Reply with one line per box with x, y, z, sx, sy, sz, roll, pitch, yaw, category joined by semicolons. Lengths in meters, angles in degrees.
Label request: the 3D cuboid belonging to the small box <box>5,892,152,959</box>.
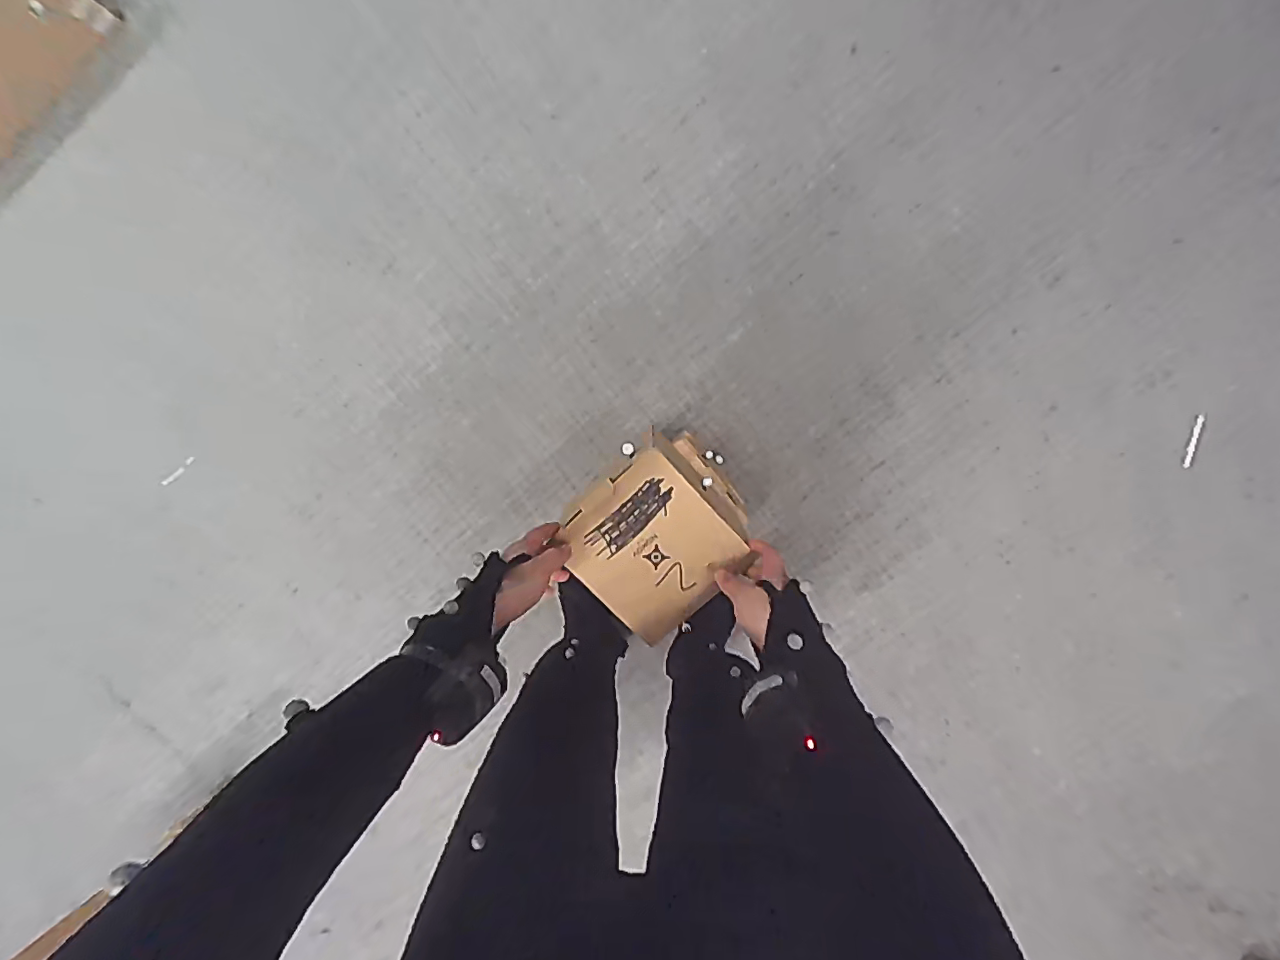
-1.024;0.888;0.943;0.179;0.176;0.168;-44;89;7;small box

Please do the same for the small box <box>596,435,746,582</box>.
0.055;0.038;0.906;0.179;0.176;0.168;-38;88;10;small box

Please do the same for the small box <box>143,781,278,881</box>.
-0.999;0.857;1.267;0.168;0.176;0.179;43;99;2;small box

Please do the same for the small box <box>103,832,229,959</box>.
-1.004;0.881;1.104;0.179;0.176;0.168;-43;89;8;small box

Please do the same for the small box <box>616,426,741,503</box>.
0.078;0.013;1.066;0.168;0.176;0.179;-38;89;9;small box
